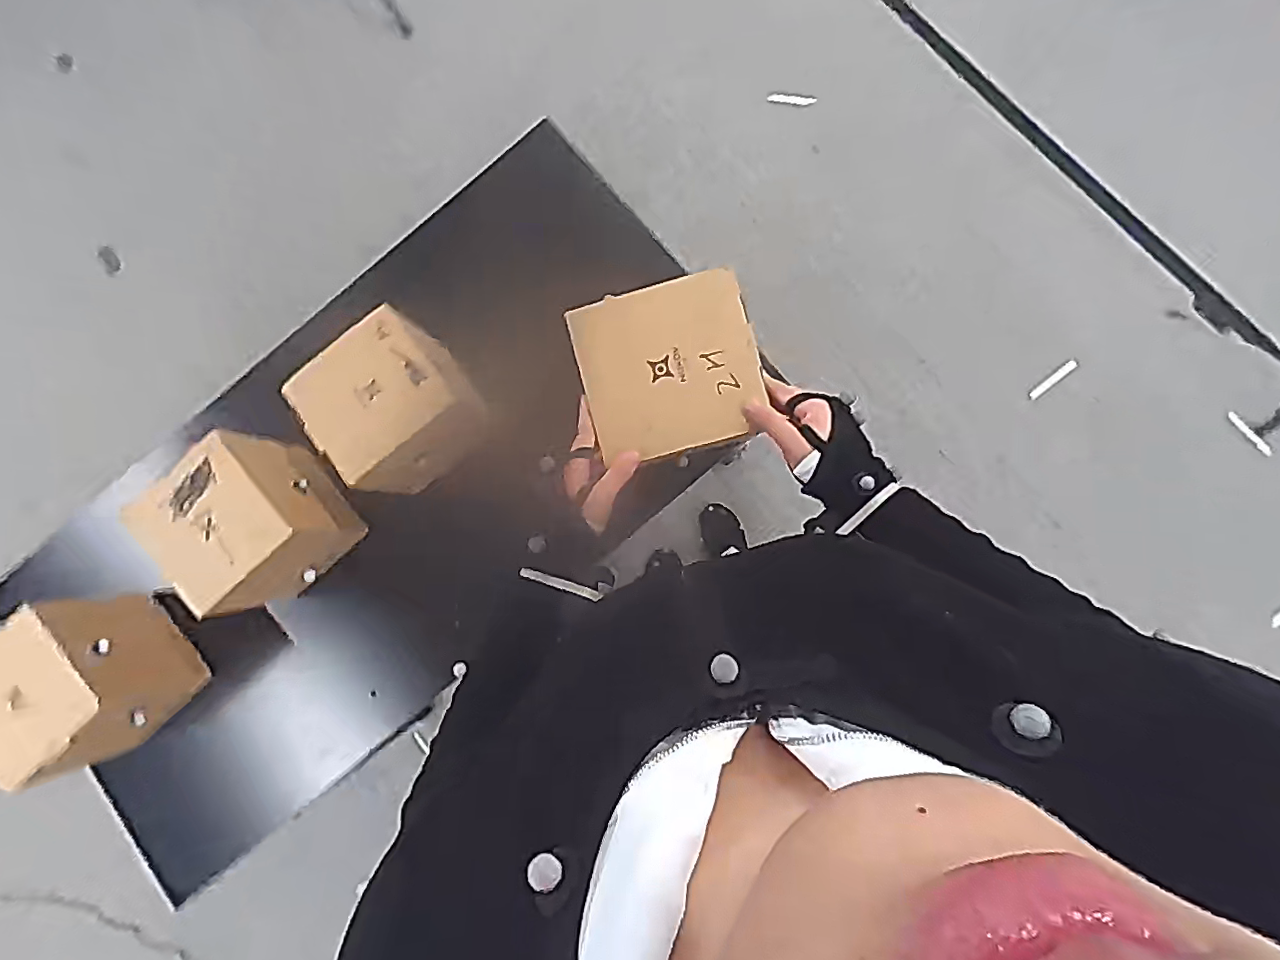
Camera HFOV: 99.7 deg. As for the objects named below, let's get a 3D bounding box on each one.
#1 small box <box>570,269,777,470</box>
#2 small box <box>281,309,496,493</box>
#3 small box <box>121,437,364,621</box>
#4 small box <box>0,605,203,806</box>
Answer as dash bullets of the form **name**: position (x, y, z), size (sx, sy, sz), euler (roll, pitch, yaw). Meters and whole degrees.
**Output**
- **small box**: position (0.038, -0.106, 0.605), size (0.179, 0.176, 0.168), euler (-14, 90, 4)
- **small box**: position (-0.335, -0.095, 0.753), size (0.179, 0.176, 0.168), euler (-39, 83, 2)
- **small box**: position (-0.538, 0.068, 0.756), size (0.168, 0.176, 0.179), euler (-41, 84, 0)
- **small box**: position (-0.781, 0.296, 0.758), size (0.168, 0.176, 0.179), euler (-44, 82, -1)
